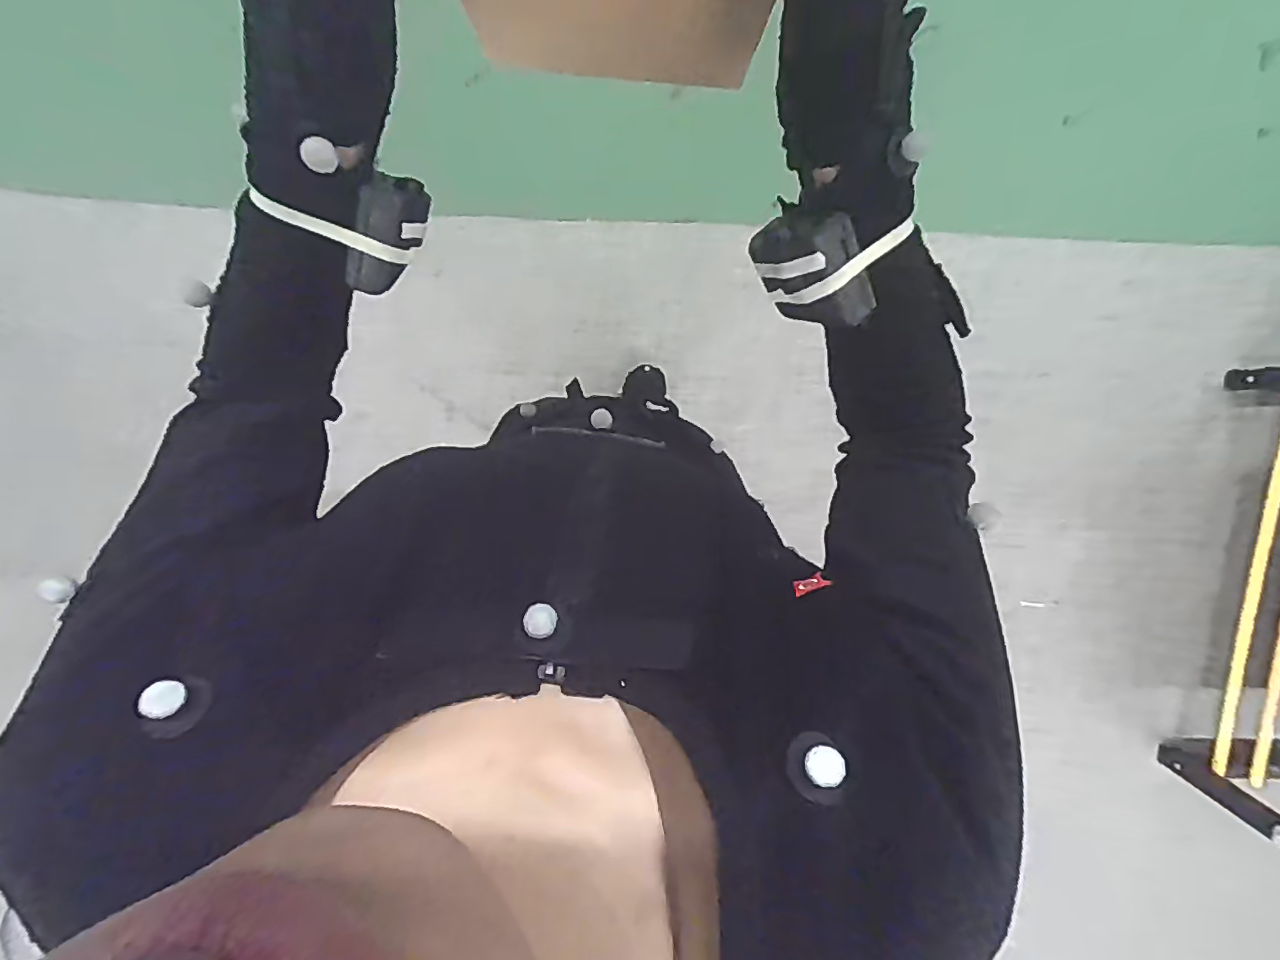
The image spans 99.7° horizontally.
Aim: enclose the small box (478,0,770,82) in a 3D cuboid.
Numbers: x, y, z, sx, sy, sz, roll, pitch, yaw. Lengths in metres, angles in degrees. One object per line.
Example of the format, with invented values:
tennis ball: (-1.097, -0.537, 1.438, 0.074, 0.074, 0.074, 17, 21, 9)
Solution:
small box: (-0.006, -0.343, 0.280, 0.179, 0.176, 0.168, 3, 101, -3)
